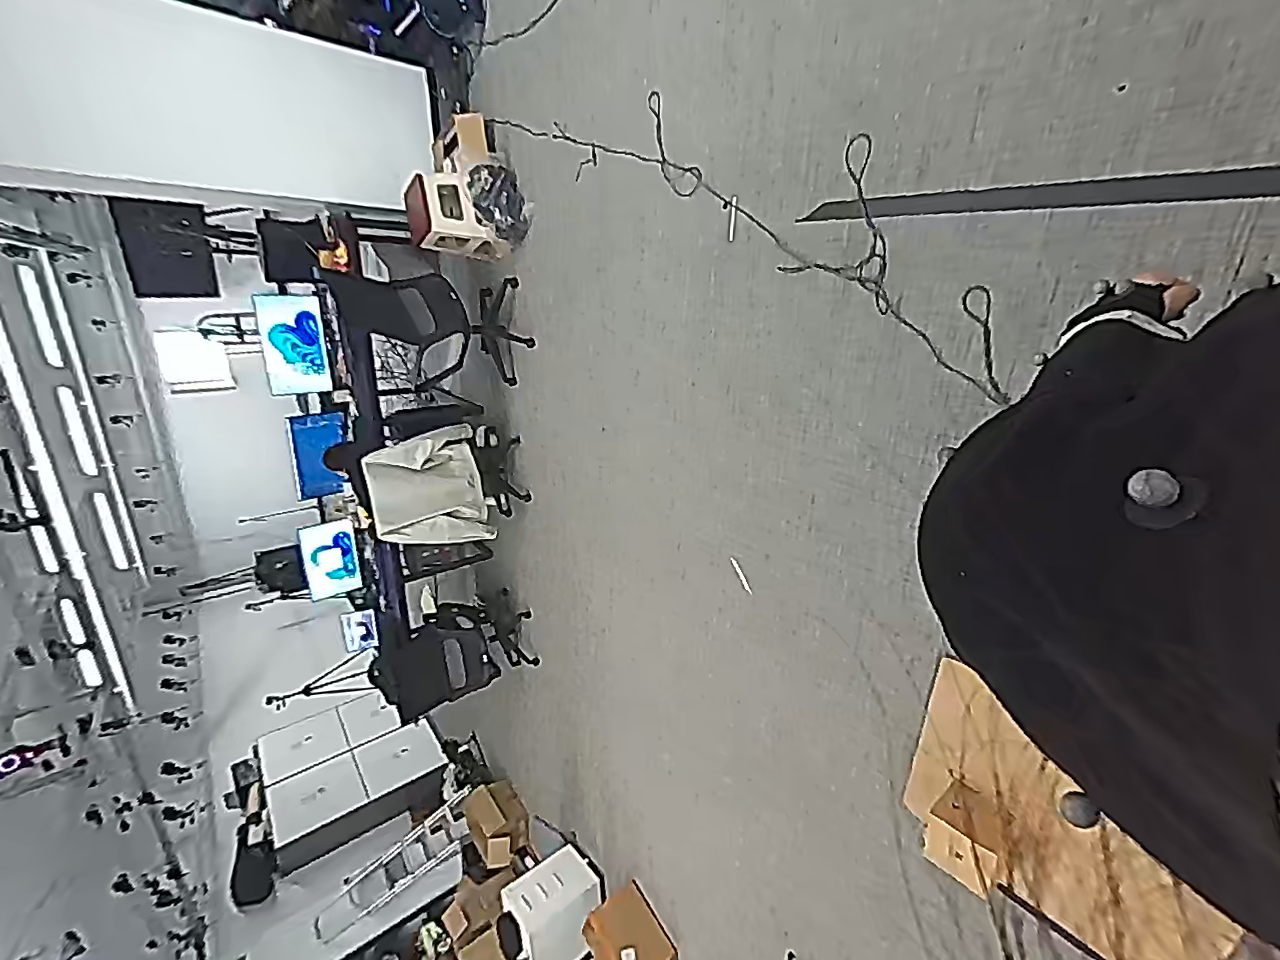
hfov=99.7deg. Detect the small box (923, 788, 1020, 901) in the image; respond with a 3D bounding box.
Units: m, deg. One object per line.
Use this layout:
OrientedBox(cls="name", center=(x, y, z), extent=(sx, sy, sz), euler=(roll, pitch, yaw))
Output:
OrientedBox(cls="small box", center=(0.932, 1.010, 1.522), extent=(0.179, 0.176, 0.168), euler=(17, 115, 48))
